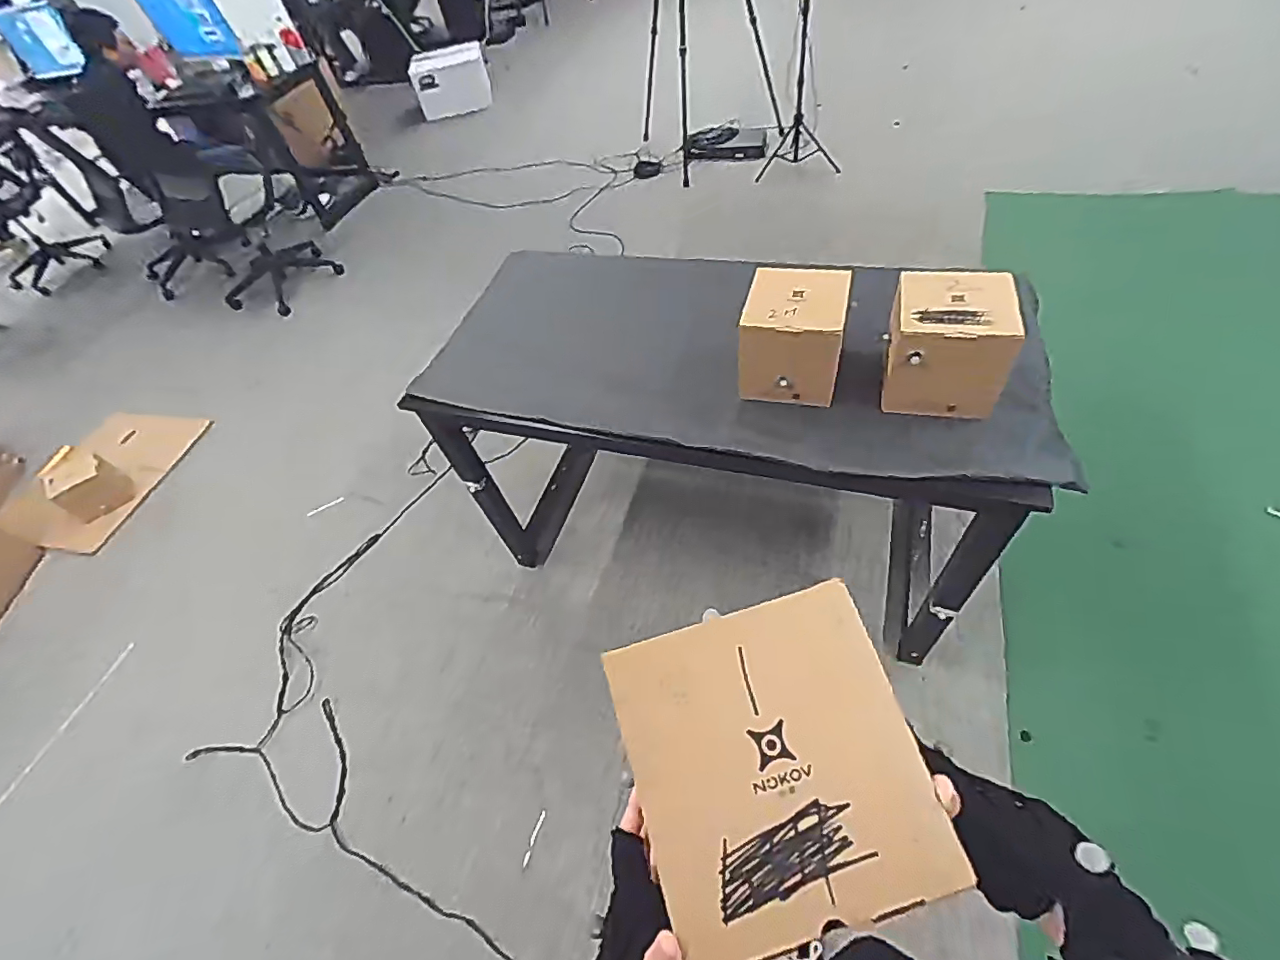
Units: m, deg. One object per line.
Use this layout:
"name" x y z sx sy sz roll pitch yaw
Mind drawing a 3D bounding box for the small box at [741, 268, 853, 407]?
"small box" 0.280 -0.259 0.980 0.168 0.176 0.179 9 55 18
